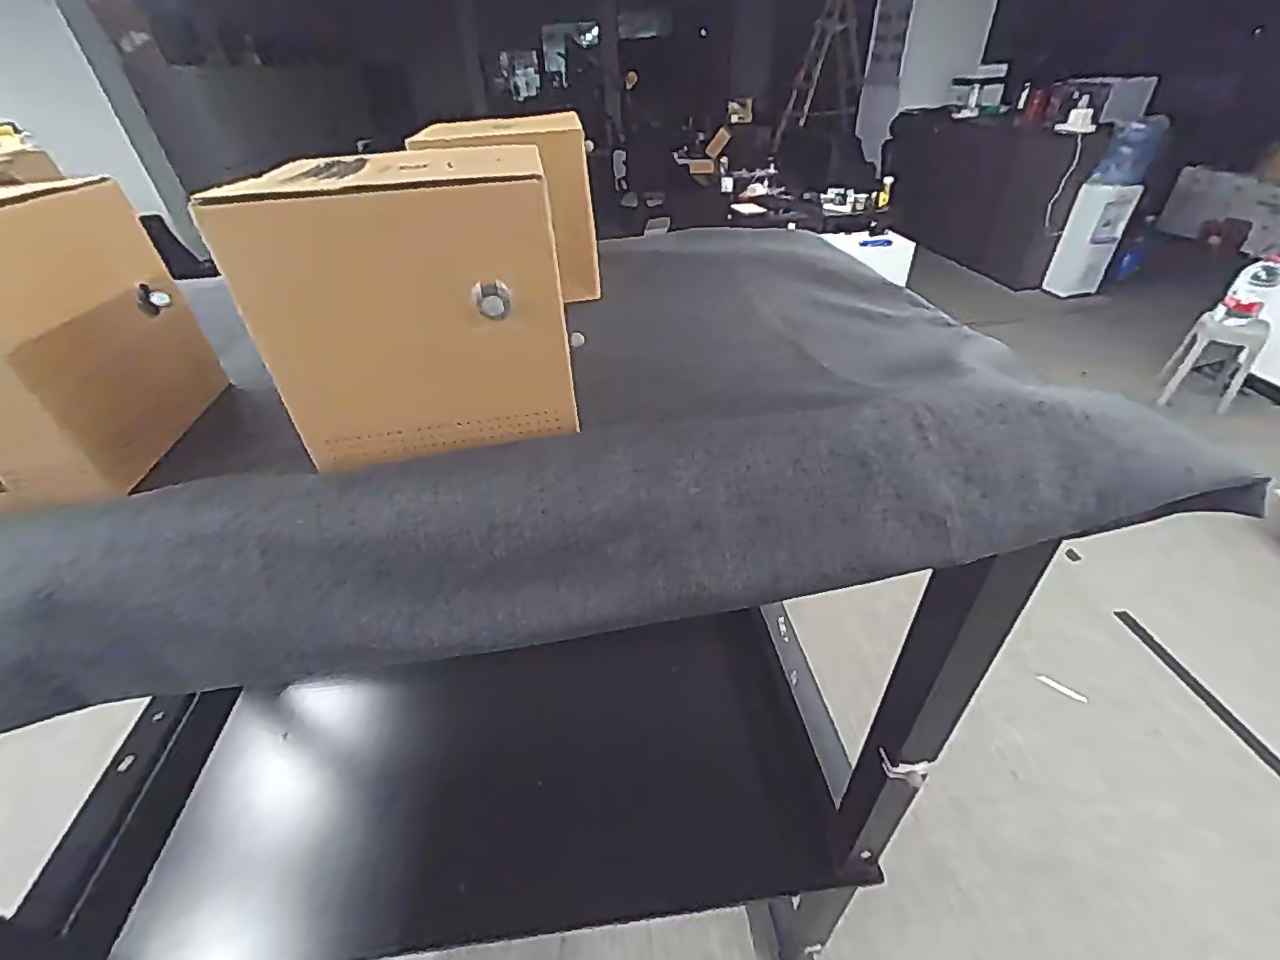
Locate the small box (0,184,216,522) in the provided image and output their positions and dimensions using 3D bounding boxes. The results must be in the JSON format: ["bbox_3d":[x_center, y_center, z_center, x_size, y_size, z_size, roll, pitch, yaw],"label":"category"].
[{"bbox_3d":[-0.433,-0.085,0.358,0.168,0.176,0.179,-10,37,-6],"label":"small box"}]

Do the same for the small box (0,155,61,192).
[{"bbox_3d":[-0.711,-0.230,0.568,0.179,0.176,0.168,-7,38,-6],"label":"small box"}]

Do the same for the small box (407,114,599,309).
[{"bbox_3d":[-0.140,-0.301,0.614,0.168,0.176,0.179,-7,38,-4],"label":"small box"}]
